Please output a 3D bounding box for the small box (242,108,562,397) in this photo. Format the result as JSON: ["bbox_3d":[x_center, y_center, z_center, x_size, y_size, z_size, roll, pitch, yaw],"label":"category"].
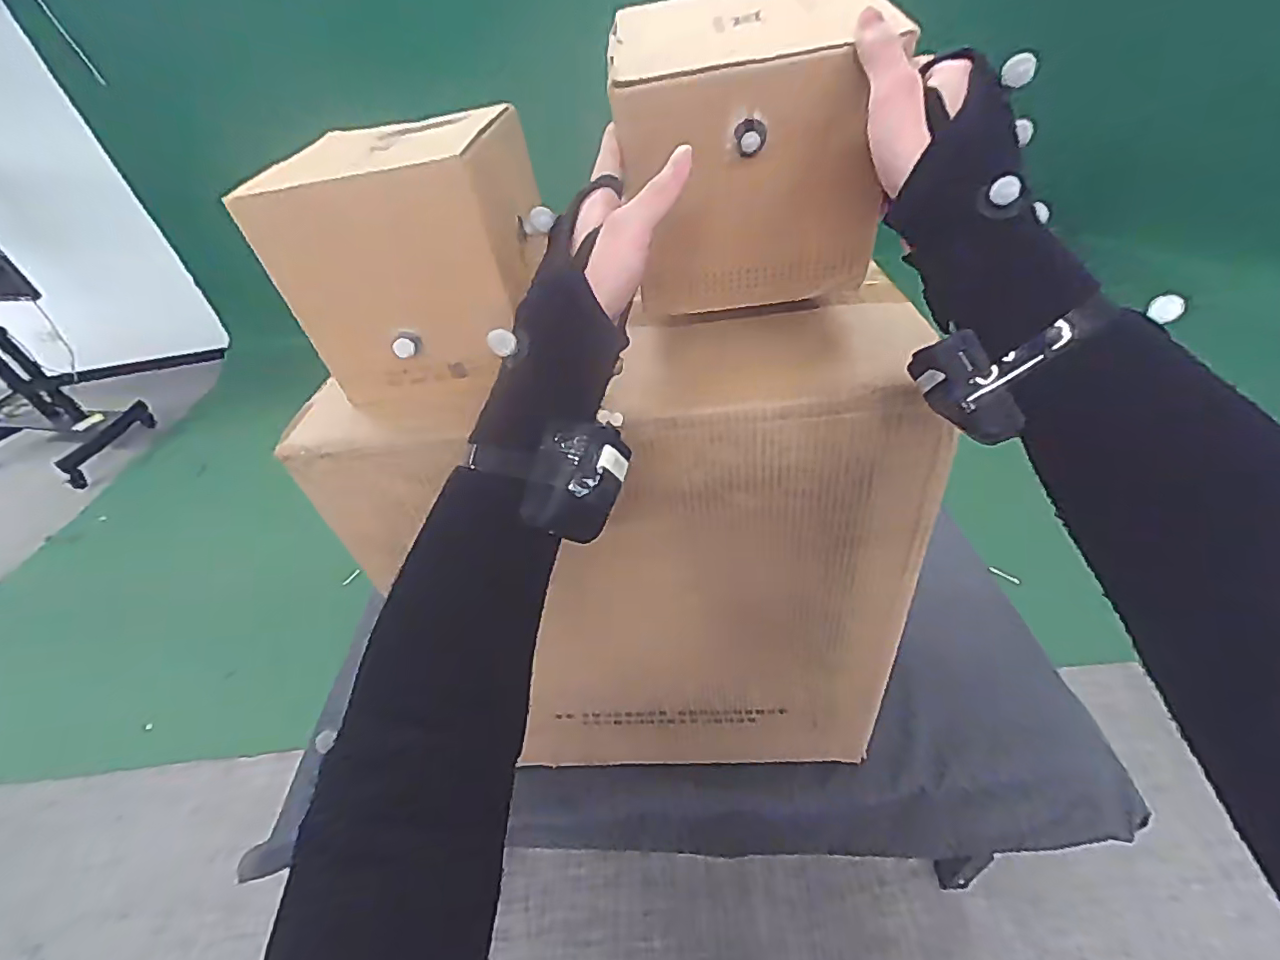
[{"bbox_3d":[-0.172,-0.193,0.464,0.168,0.176,0.179,-6,44,7],"label":"small box"}]

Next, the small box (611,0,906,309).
[{"bbox_3d":[0.079,-0.254,0.428,0.179,0.176,0.168,-4,52,5],"label":"small box"}]
